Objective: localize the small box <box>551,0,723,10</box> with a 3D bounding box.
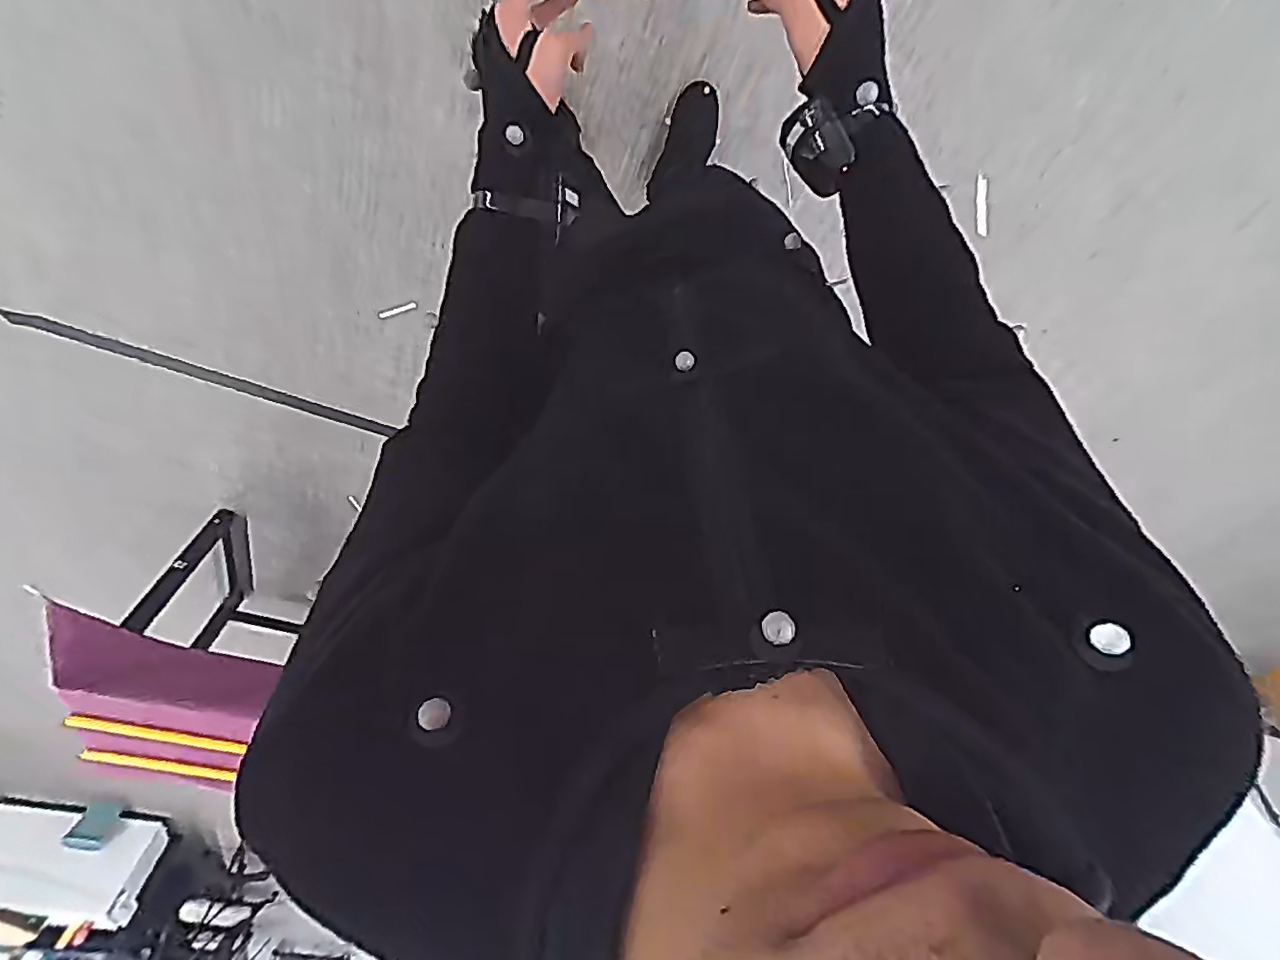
[{"bbox_3d":[0.003,-0.501,0.432,0.179,0.176,0.168,-6,139,-2],"label":"small box"}]
